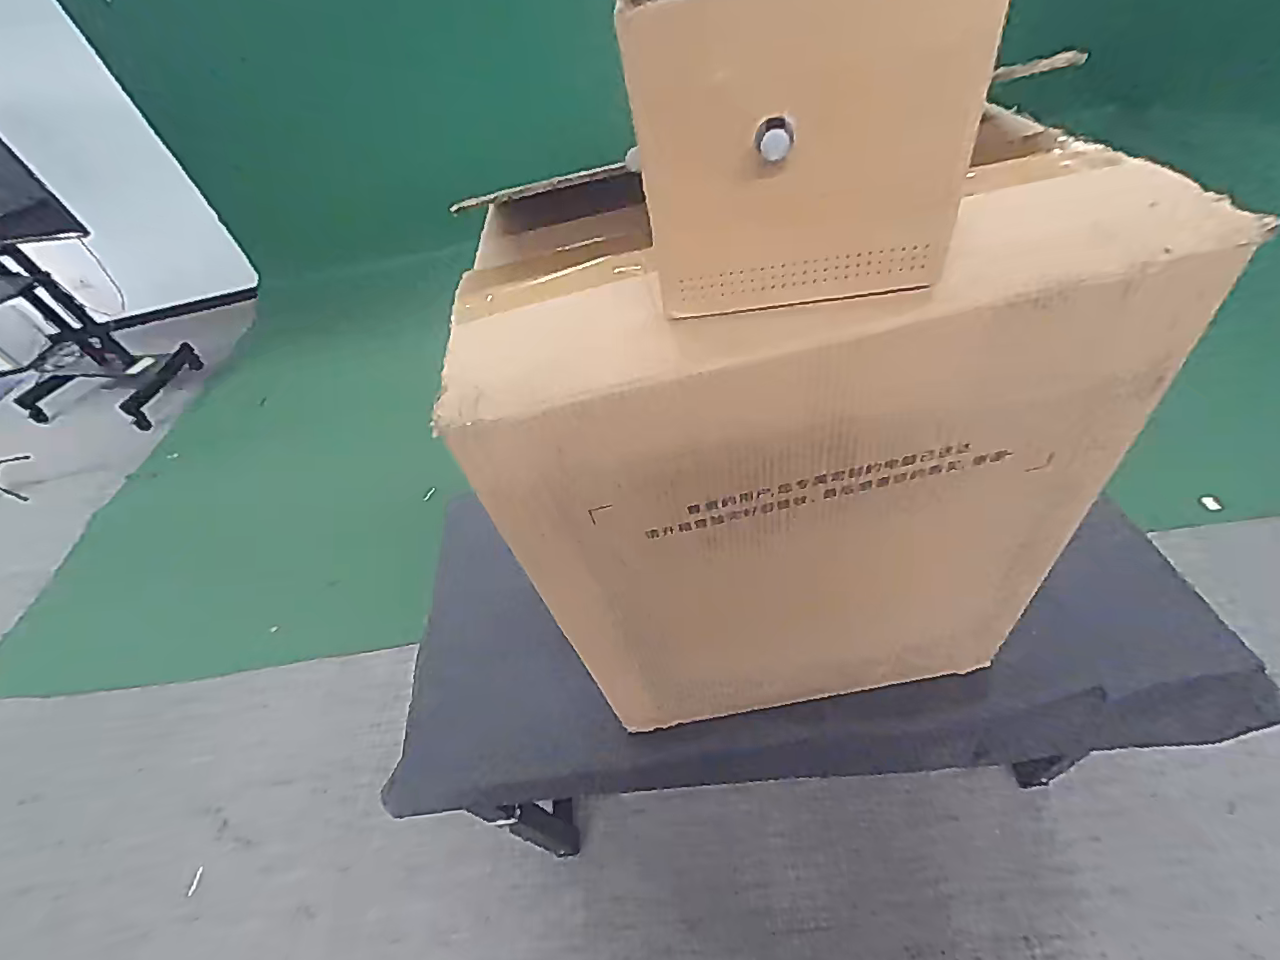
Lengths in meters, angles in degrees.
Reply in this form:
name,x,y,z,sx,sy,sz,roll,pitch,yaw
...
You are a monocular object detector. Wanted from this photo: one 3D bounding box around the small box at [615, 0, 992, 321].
name,x,y,z,sx,sy,sz,roll,pitch,yaw
small box,0.093,-0.221,0.347,0.179,0.176,0.168,-6,48,10
